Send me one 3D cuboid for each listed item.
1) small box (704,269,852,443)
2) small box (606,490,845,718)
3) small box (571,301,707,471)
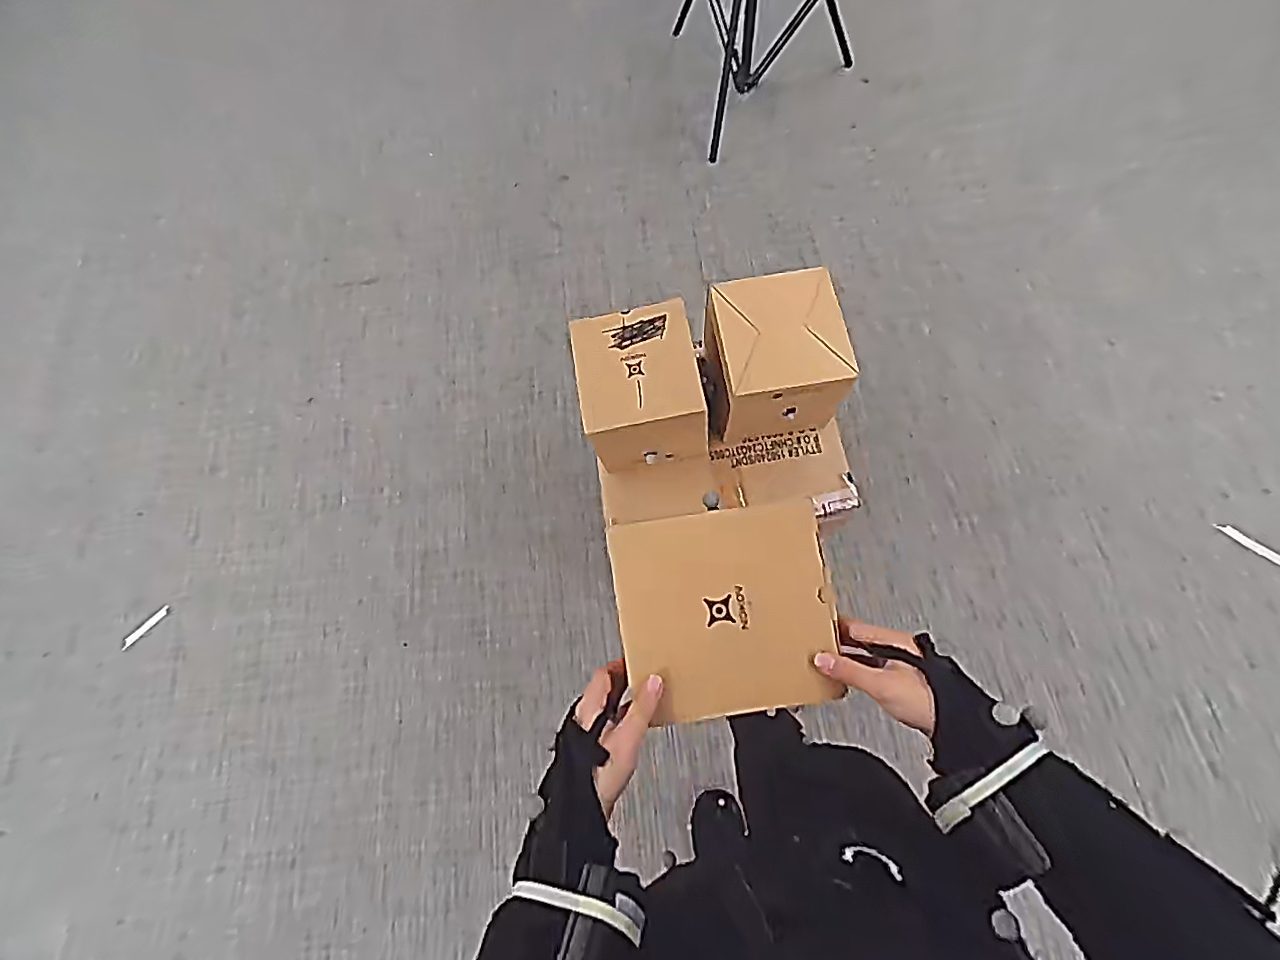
[{"bbox_3d":[0.193,-0.176,0.798,0.168,0.176,0.179,-9,72,0],"label":"small box"},{"bbox_3d":[0.070,0.110,0.523,0.179,0.176,0.168,-9,84,-1],"label":"small box"},{"bbox_3d":[0.003,-0.131,0.805,0.168,0.176,0.179,-11,72,4],"label":"small box"}]
